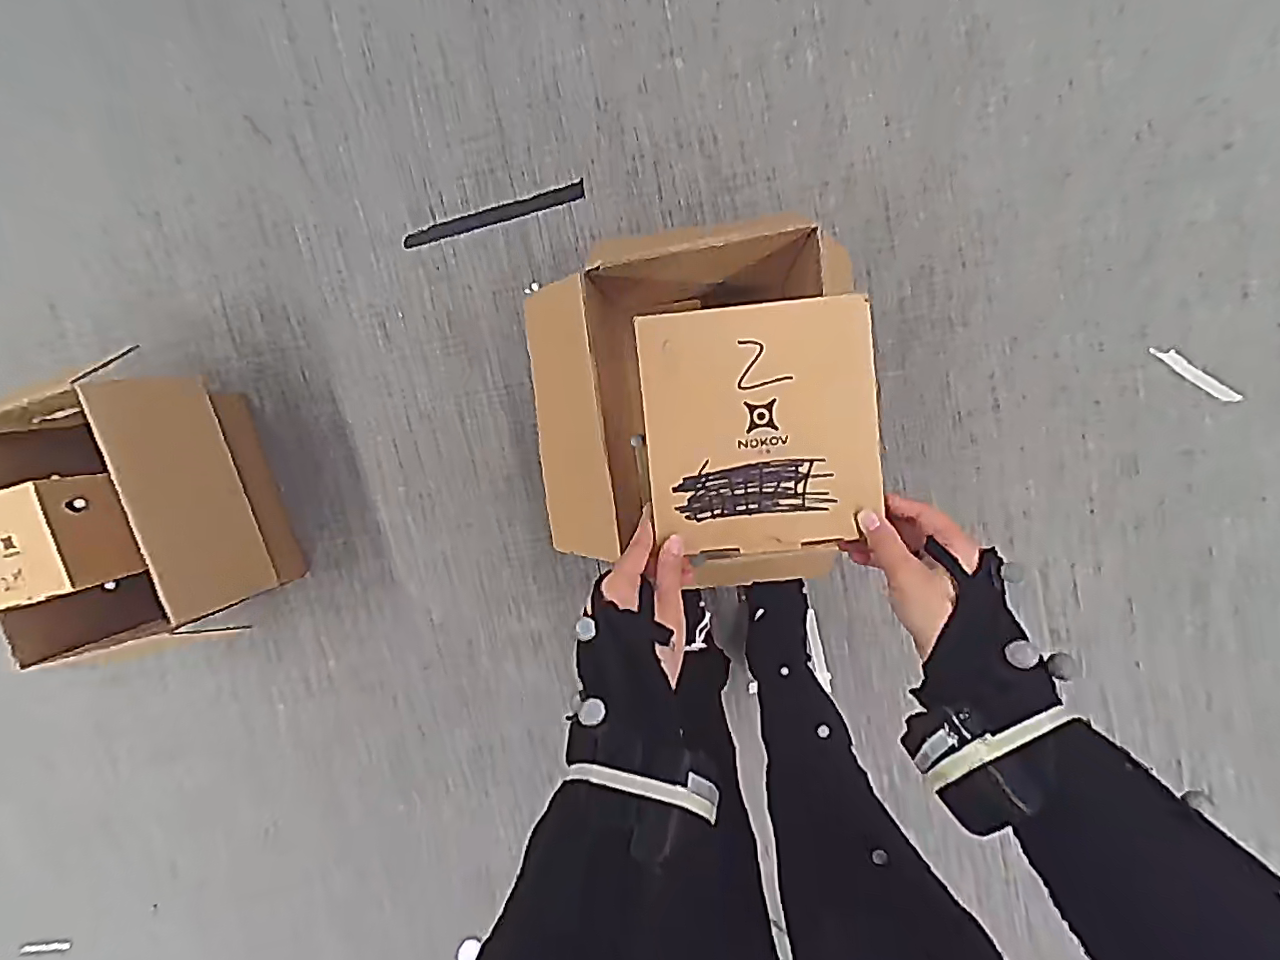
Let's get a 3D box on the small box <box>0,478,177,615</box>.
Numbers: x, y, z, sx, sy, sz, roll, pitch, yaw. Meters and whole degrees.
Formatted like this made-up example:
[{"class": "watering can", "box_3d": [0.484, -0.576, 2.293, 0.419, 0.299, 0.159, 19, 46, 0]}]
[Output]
[{"class": "small box", "box_3d": [-0.939, 0.100, 0.900, 0.168, 0.176, 0.179, -14, 96, 9]}]
